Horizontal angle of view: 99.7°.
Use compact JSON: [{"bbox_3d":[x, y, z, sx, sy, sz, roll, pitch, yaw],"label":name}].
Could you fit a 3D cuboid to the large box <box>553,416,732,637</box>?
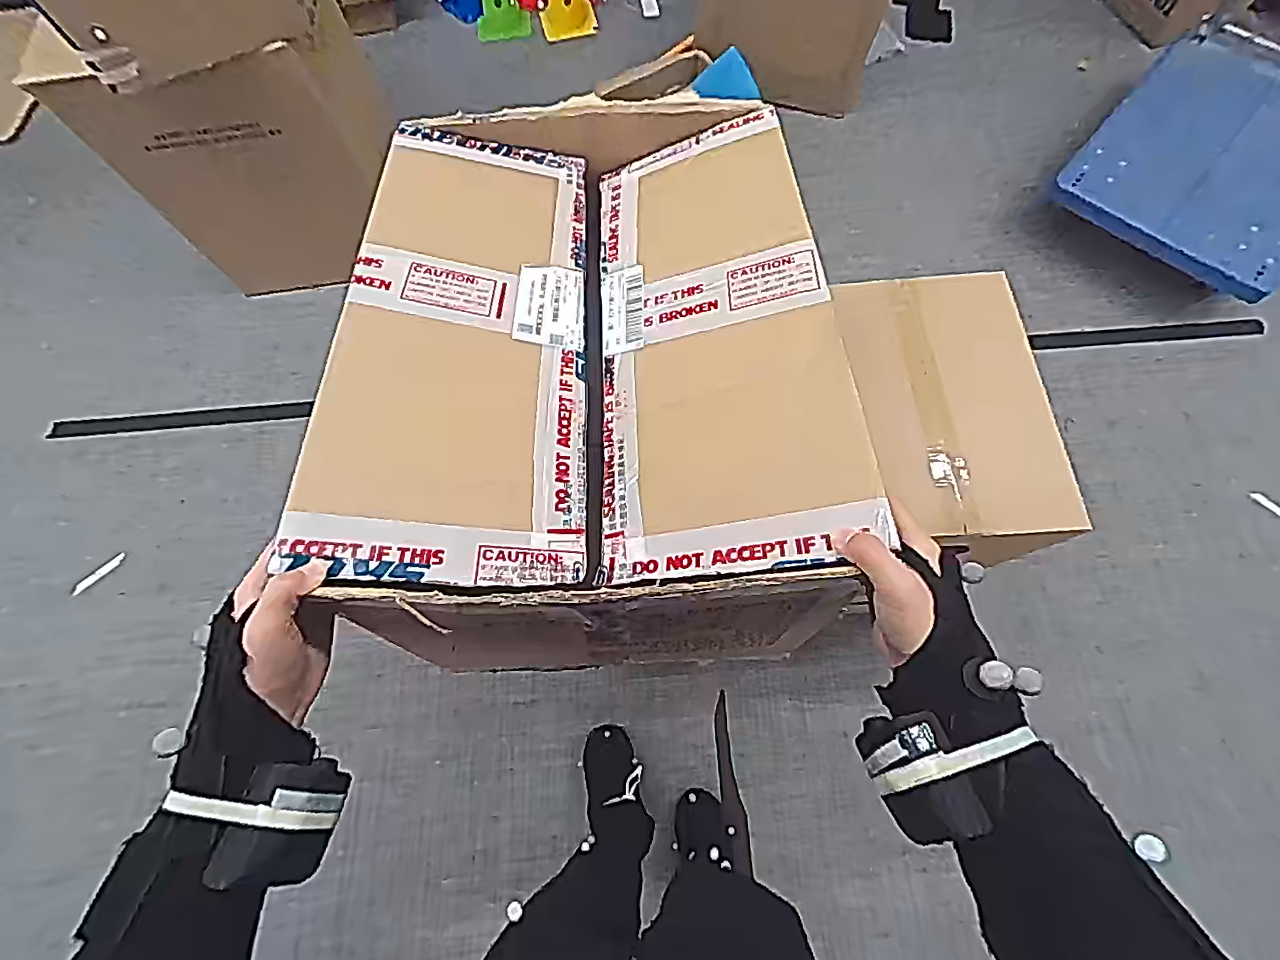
[{"bbox_3d":[-0.003,0.115,1.185,0.320,0.320,0.408,-6,70,0],"label":"large box"}]
